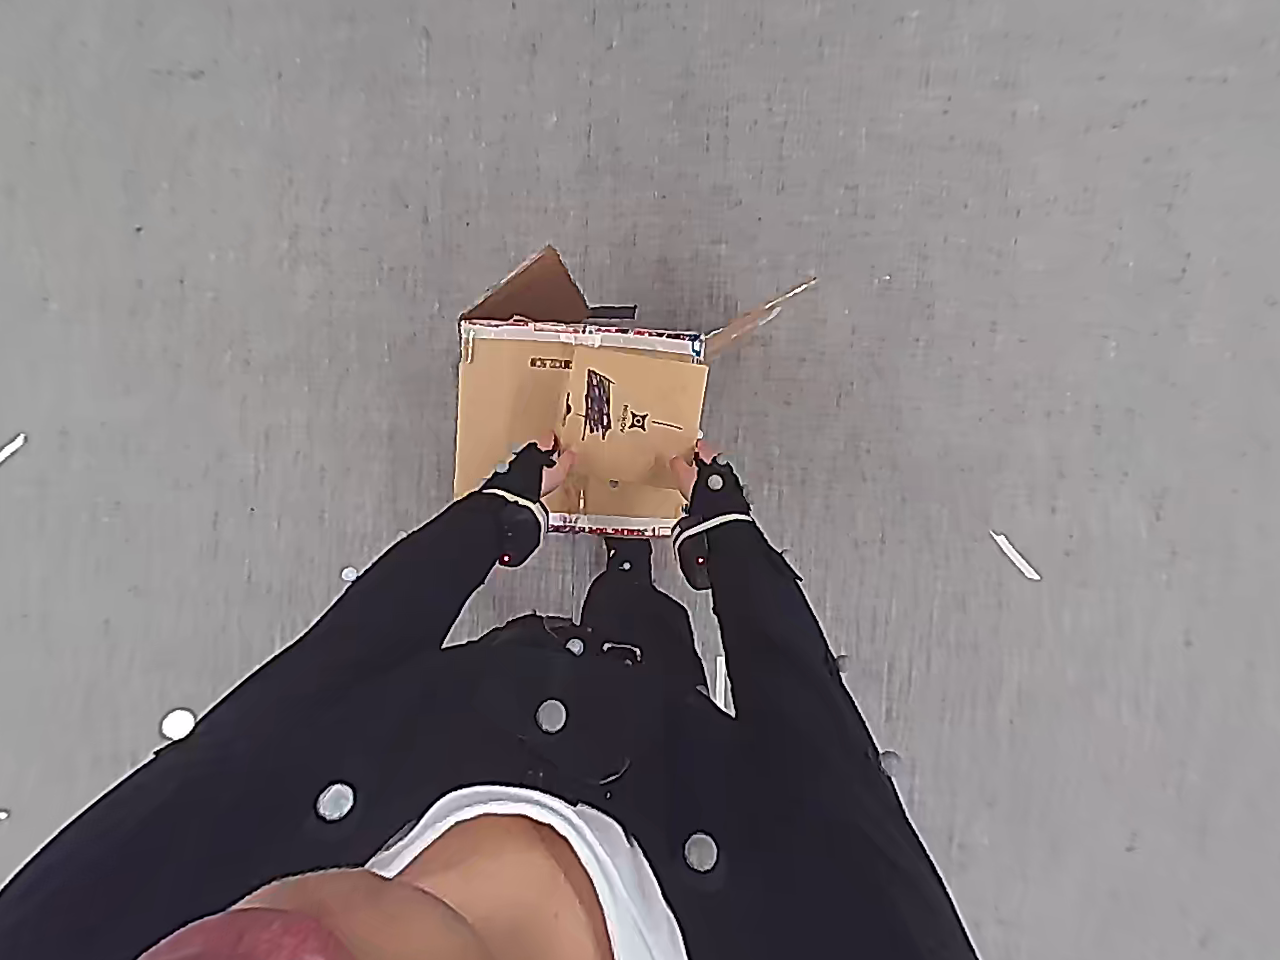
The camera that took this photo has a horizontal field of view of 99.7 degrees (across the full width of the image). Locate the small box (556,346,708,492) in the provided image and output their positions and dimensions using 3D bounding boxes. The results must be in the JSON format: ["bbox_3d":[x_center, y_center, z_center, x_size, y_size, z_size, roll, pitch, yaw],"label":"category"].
[{"bbox_3d":[-0.010,-0.084,0.770,0.179,0.176,0.168,9,96,0],"label":"small box"}]
